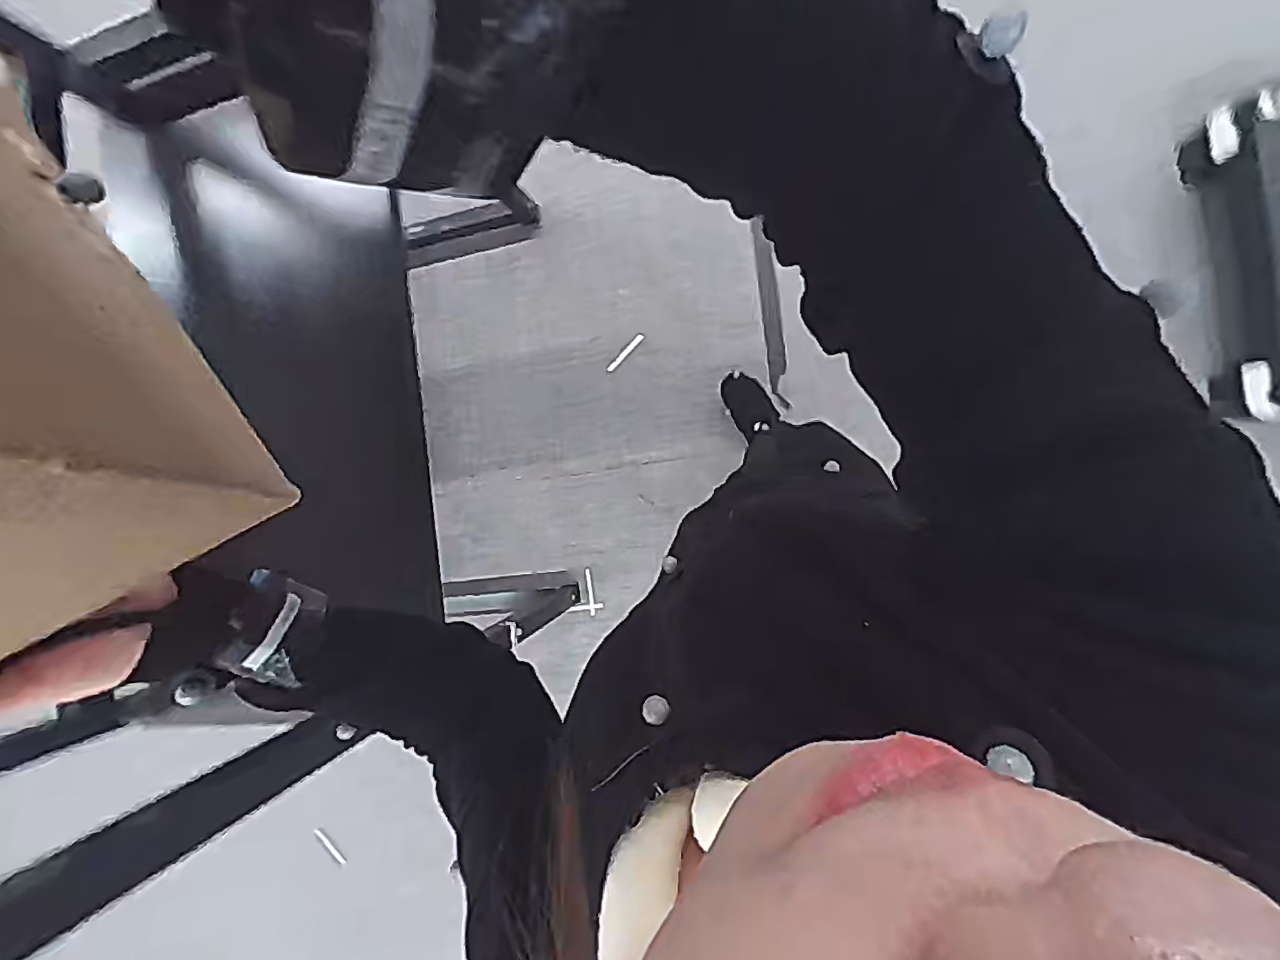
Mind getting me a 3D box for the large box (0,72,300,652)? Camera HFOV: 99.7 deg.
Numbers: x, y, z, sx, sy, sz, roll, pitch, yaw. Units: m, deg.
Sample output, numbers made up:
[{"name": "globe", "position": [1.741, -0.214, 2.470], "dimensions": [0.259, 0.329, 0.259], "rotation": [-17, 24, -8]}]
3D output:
[{"name": "large box", "position": [-0.355, -0.025, 0.075], "dimensions": [0.408, 0.320, 0.320], "rotation": [-35, 100, -21]}]
